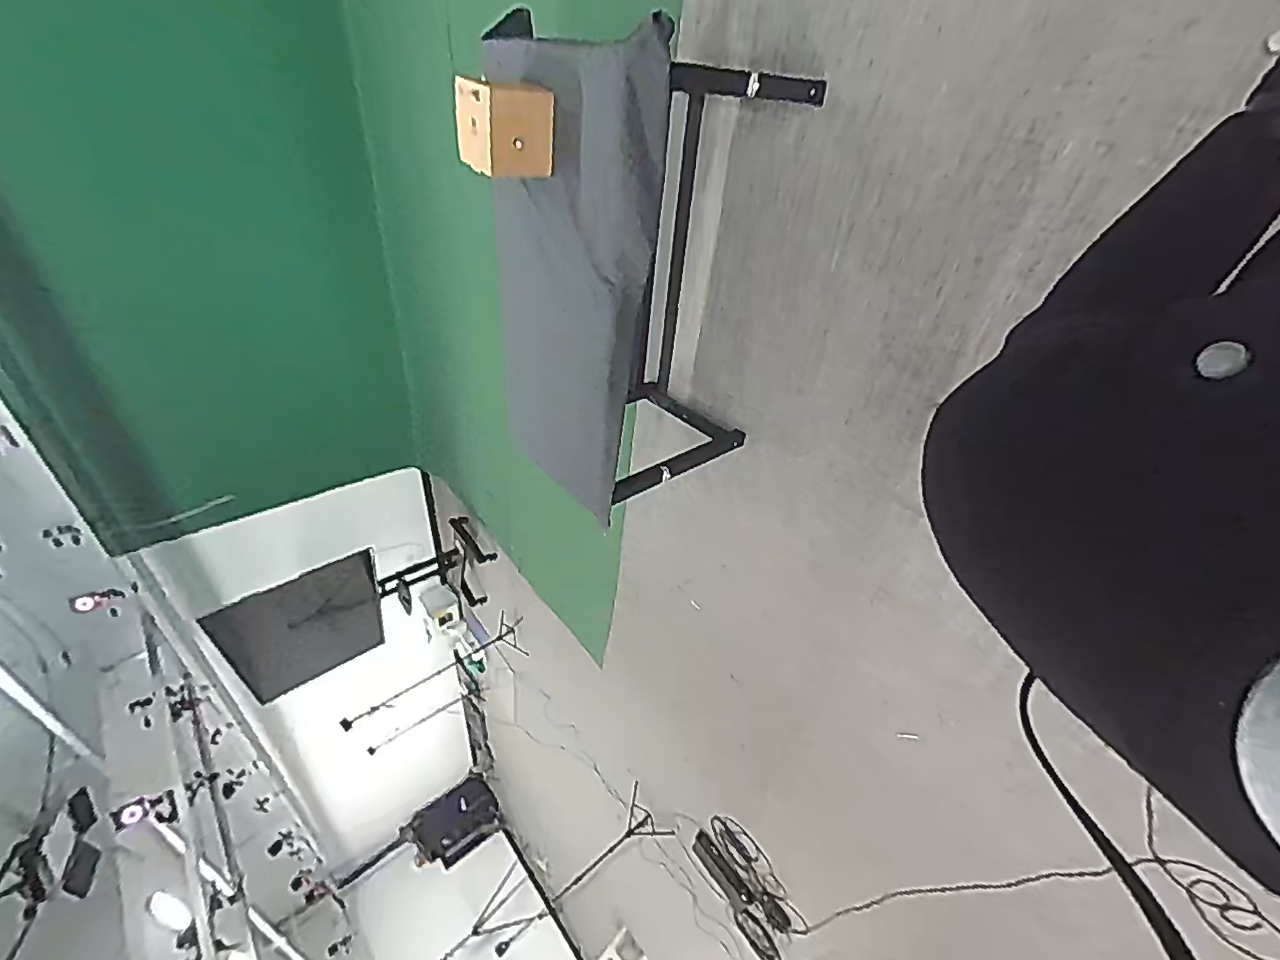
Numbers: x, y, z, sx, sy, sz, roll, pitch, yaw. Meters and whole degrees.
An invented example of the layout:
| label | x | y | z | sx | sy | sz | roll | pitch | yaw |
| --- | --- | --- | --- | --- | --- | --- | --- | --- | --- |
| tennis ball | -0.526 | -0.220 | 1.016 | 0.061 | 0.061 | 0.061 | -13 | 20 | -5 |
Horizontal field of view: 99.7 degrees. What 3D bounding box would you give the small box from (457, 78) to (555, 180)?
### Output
| label | x | y | z | sx | sy | sz | roll | pitch | yaw |
| --- | --- | --- | --- | --- | --- | --- | --- | --- | --- |
| small box | -0.318 | -0.843 | 1.301 | 0.168 | 0.176 | 0.179 | 41 | 139 | 31 |
